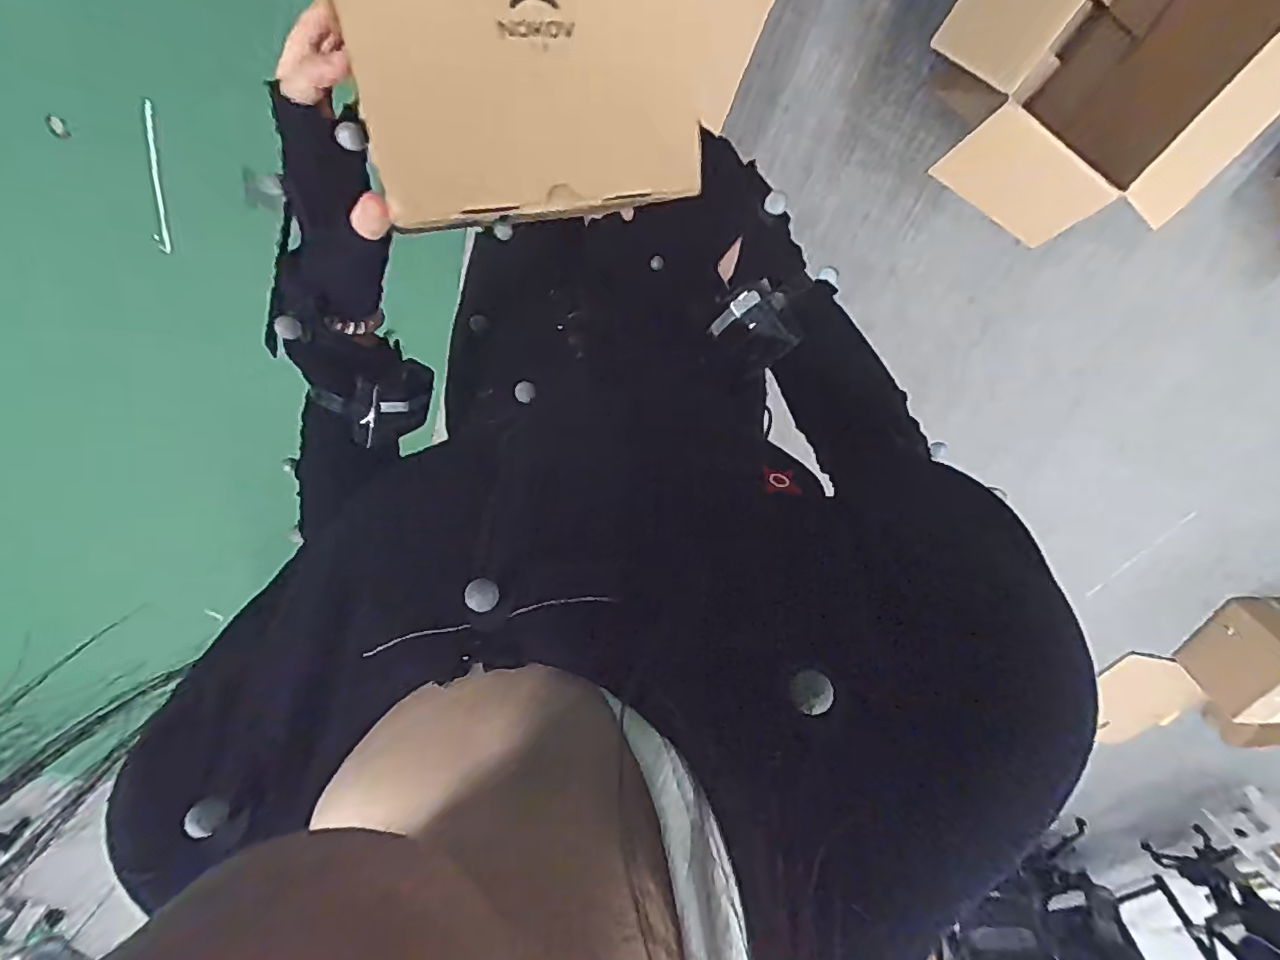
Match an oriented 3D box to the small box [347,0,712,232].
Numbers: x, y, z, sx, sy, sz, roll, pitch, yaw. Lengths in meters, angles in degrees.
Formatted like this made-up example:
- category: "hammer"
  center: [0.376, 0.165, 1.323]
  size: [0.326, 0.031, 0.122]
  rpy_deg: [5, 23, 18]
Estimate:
- category: "small box"
  center: [-0.074, -0.253, 0.318]
  size: [0.168, 0.176, 0.179]
  rpy_deg: [-16, 117, -17]
